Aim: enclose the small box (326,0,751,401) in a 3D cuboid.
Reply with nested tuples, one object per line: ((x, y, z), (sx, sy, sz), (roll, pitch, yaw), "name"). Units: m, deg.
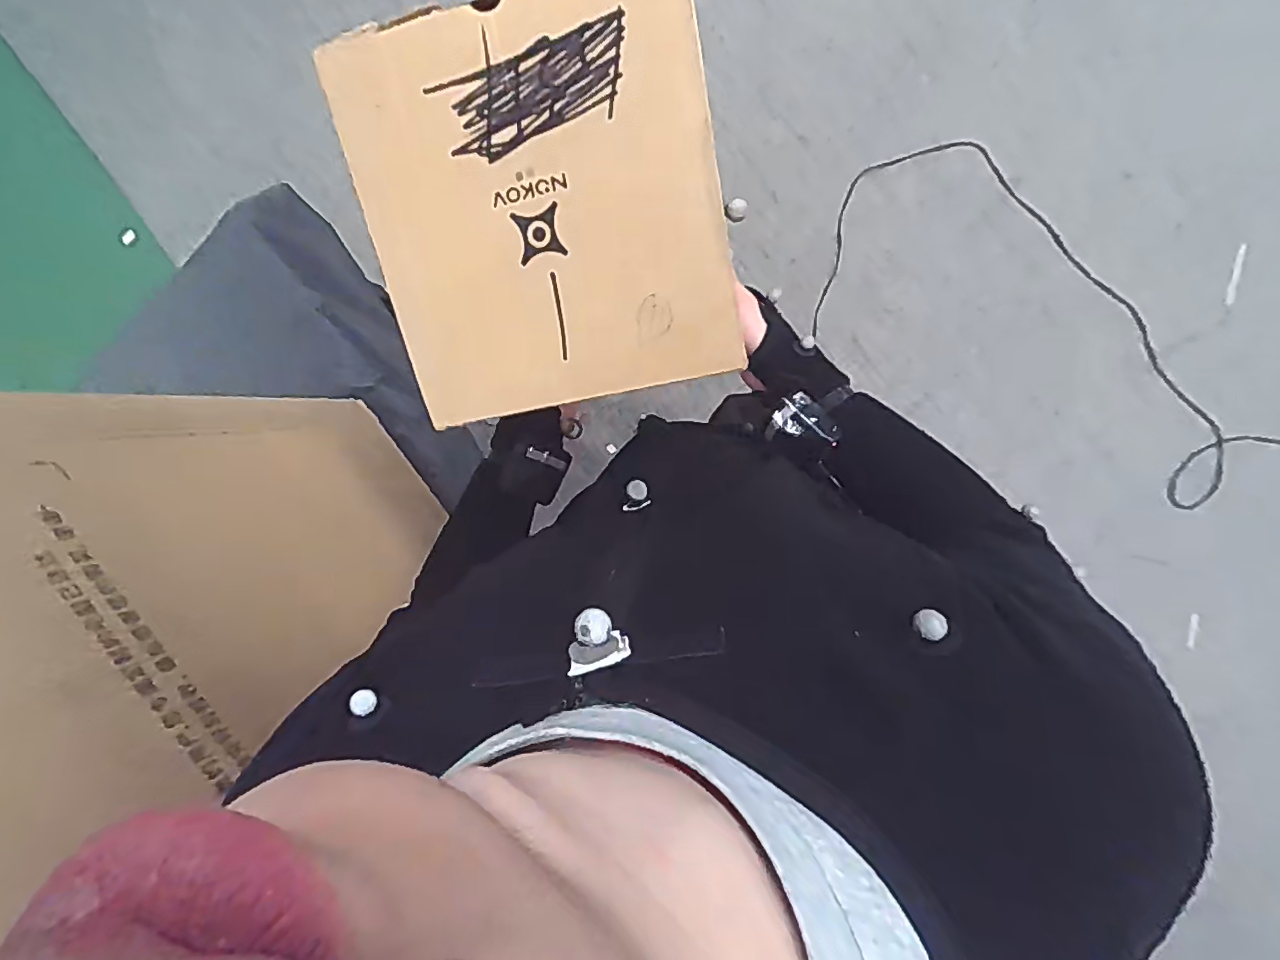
((-0.033, -0.155, 0.319), (0.168, 0.176, 0.179), (-9, 106, 11), "small box")
